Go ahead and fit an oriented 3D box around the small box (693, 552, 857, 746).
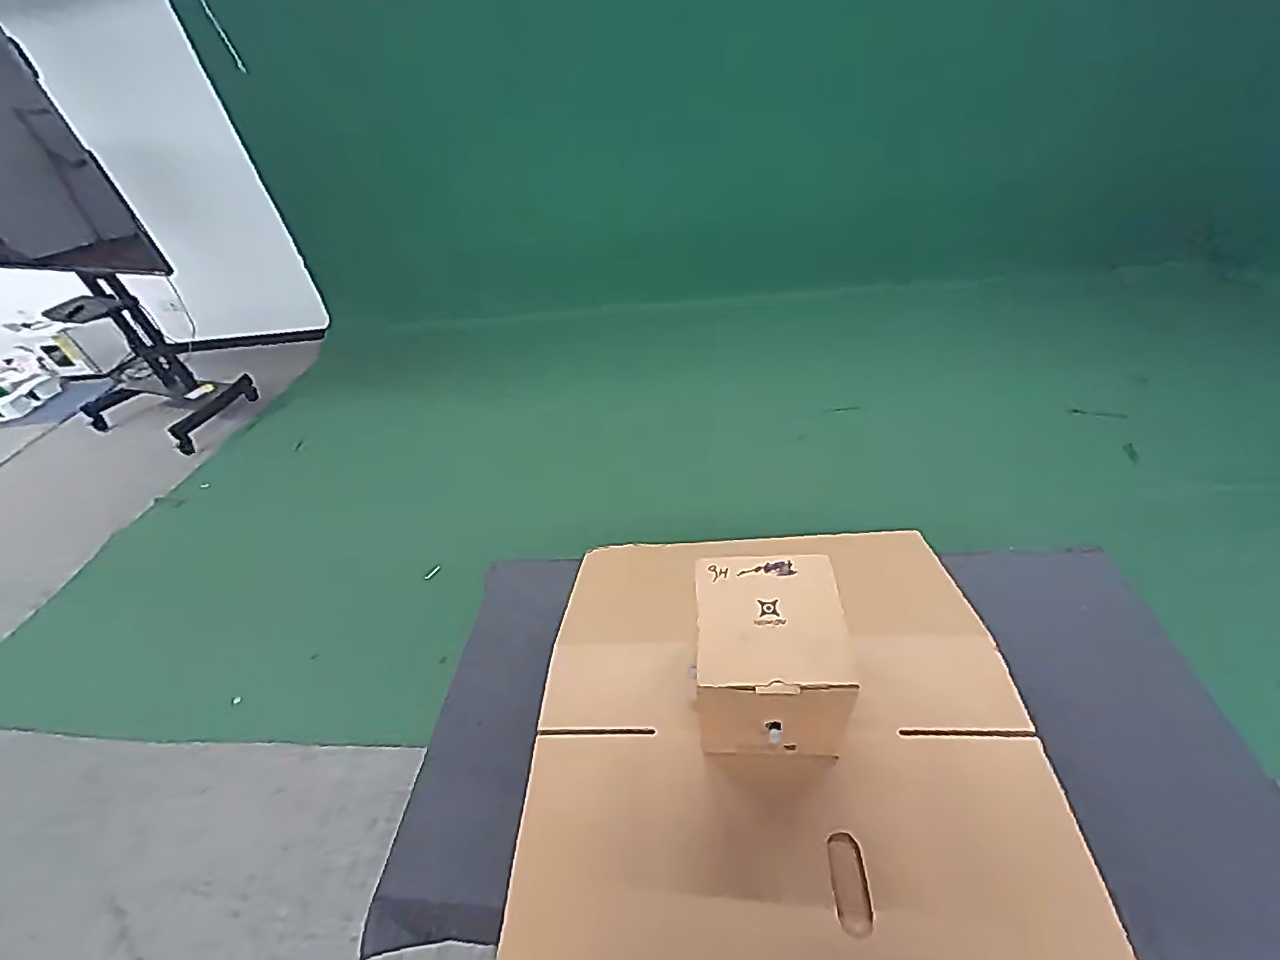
[{"bbox_3d":[0.156,0.213,0.669,0.168,0.176,0.179,-4,42,6],"label":"small box"}]
